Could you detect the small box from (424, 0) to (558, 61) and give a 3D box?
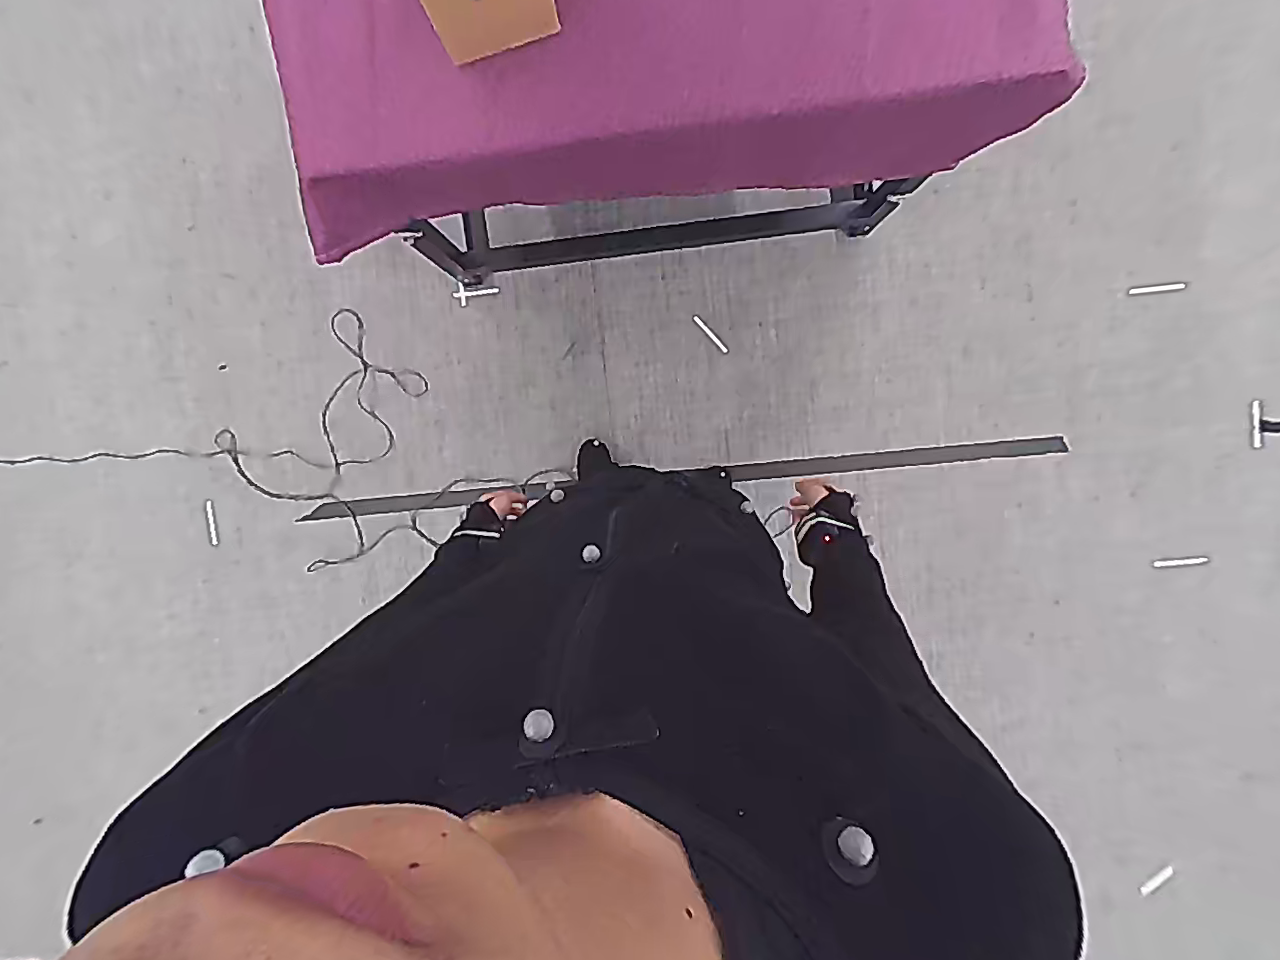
[{"bbox_3d":[-0.230,-0.738,0.753,0.179,0.176,0.168,-16,95,2],"label":"small box"}]
